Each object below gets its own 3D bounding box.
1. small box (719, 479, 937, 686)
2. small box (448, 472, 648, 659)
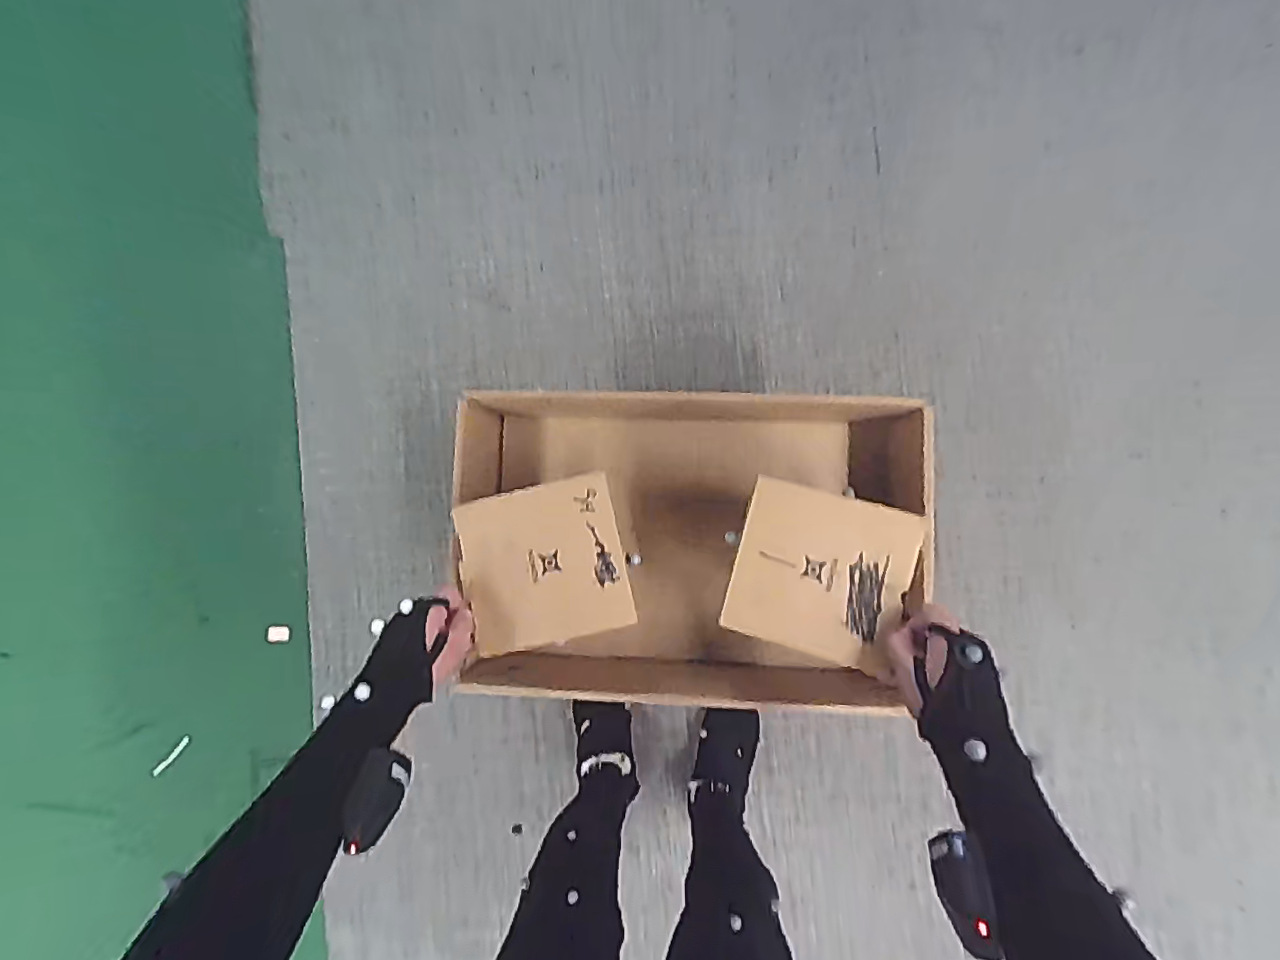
[{"bbox_3d":[0.198,0.105,0.615,0.179,0.176,0.168,16,88,11],"label":"small box"},{"bbox_3d":[-0.097,0.099,0.637,0.179,0.176,0.168,-14,82,4],"label":"small box"}]
